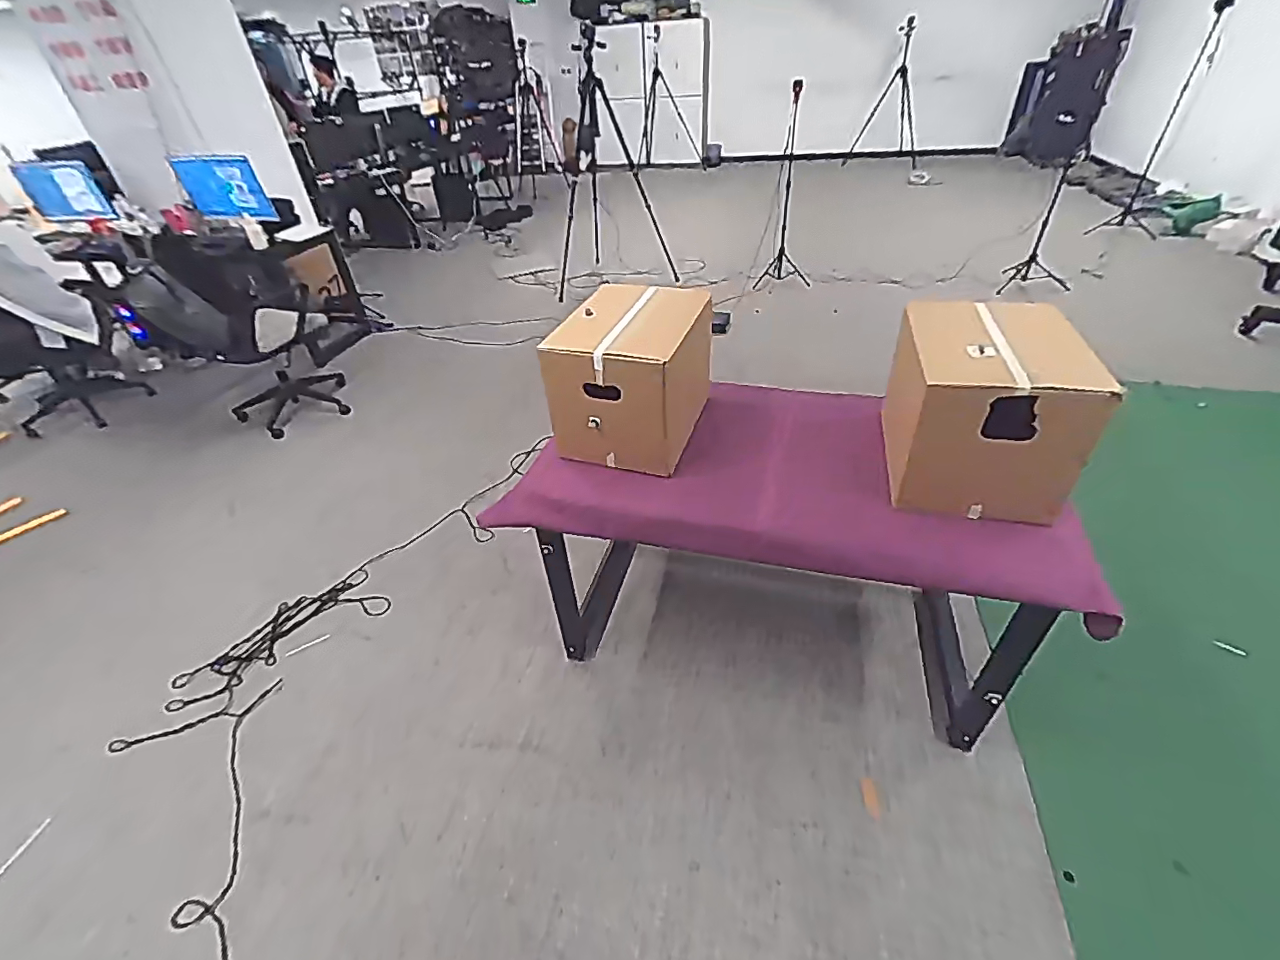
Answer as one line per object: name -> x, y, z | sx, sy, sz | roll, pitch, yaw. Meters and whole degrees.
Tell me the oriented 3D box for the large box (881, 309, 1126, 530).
large box -> 0.737, -0.149, 1.189 | 0.320, 0.320, 0.408 | 5, 40, 16
